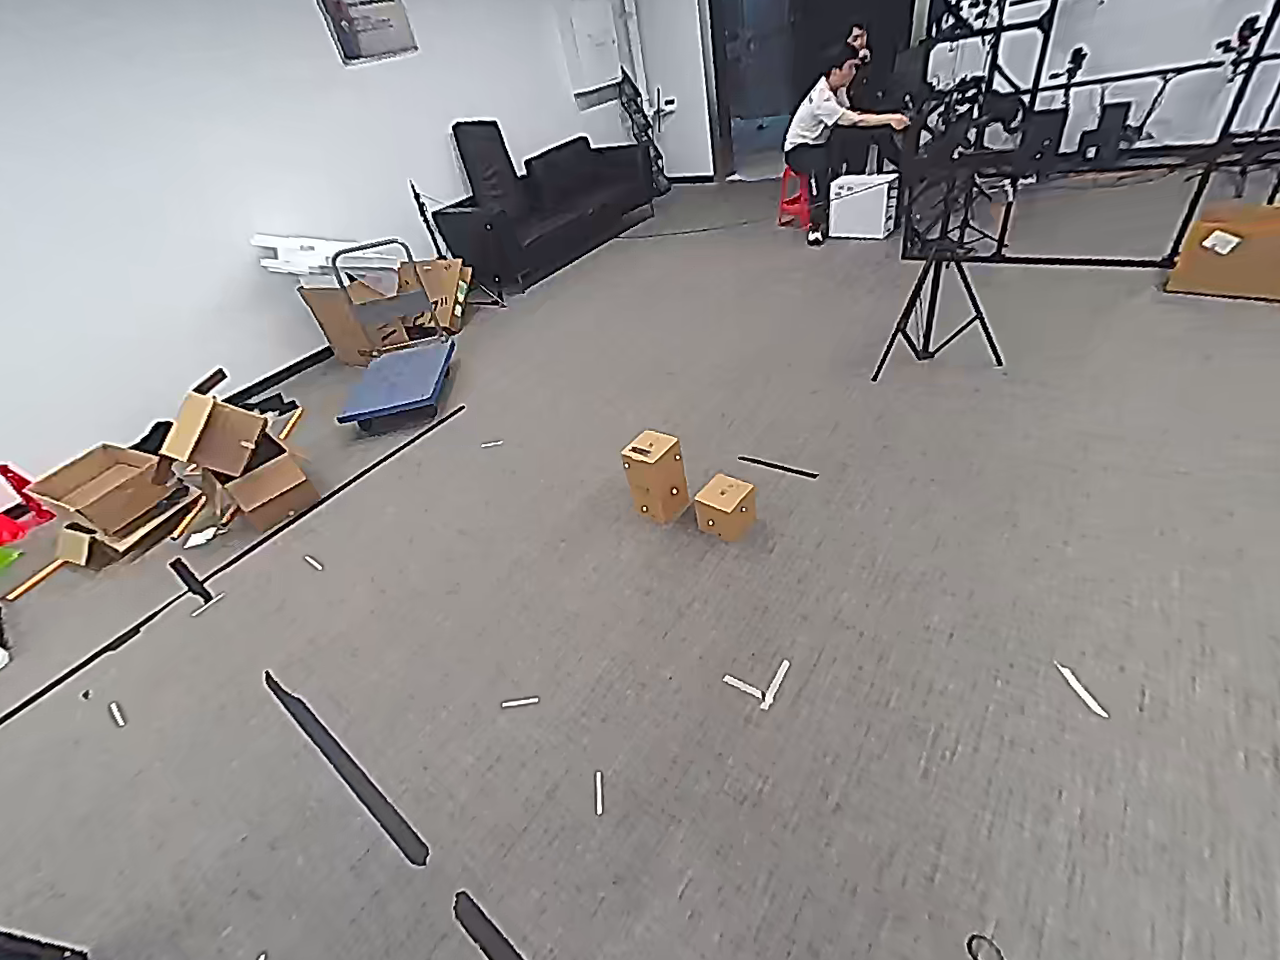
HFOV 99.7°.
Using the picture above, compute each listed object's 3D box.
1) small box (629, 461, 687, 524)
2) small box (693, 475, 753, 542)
[{"bbox_3d":[0.082,0.054,2.262,0.168,0.176,0.179,20,50,36],"label":"small box"},{"bbox_3d":[0.332,0.113,2.107,0.168,0.176,0.179,22,50,36],"label":"small box"}]
